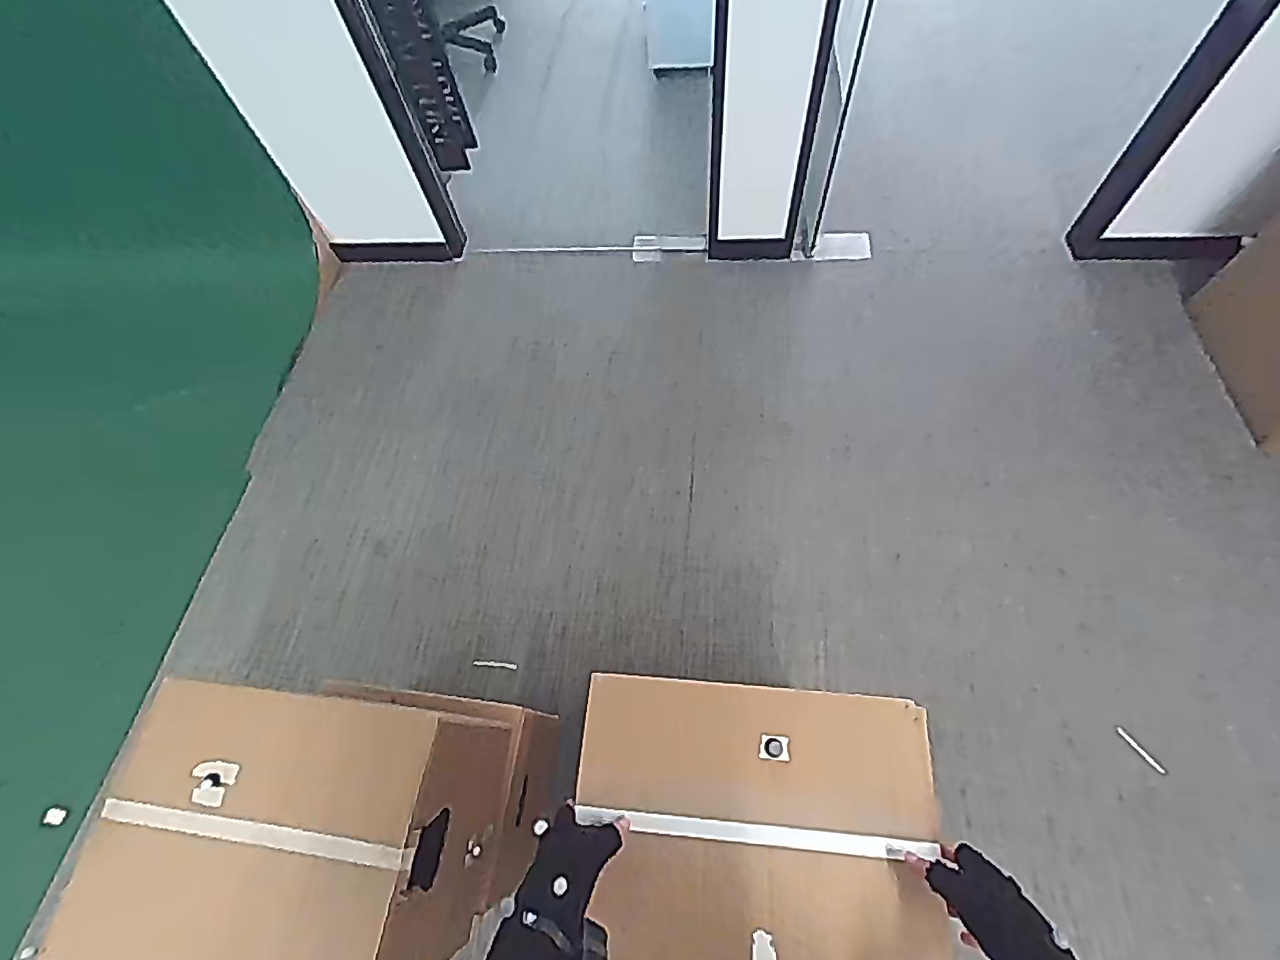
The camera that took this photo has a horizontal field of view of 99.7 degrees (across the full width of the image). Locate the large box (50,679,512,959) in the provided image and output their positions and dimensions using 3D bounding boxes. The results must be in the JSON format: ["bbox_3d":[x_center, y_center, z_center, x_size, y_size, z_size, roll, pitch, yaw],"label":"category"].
[{"bbox_3d":[-0.447,0.485,0.784,0.408,0.320,0.320,4,64,9],"label":"large box"}]
